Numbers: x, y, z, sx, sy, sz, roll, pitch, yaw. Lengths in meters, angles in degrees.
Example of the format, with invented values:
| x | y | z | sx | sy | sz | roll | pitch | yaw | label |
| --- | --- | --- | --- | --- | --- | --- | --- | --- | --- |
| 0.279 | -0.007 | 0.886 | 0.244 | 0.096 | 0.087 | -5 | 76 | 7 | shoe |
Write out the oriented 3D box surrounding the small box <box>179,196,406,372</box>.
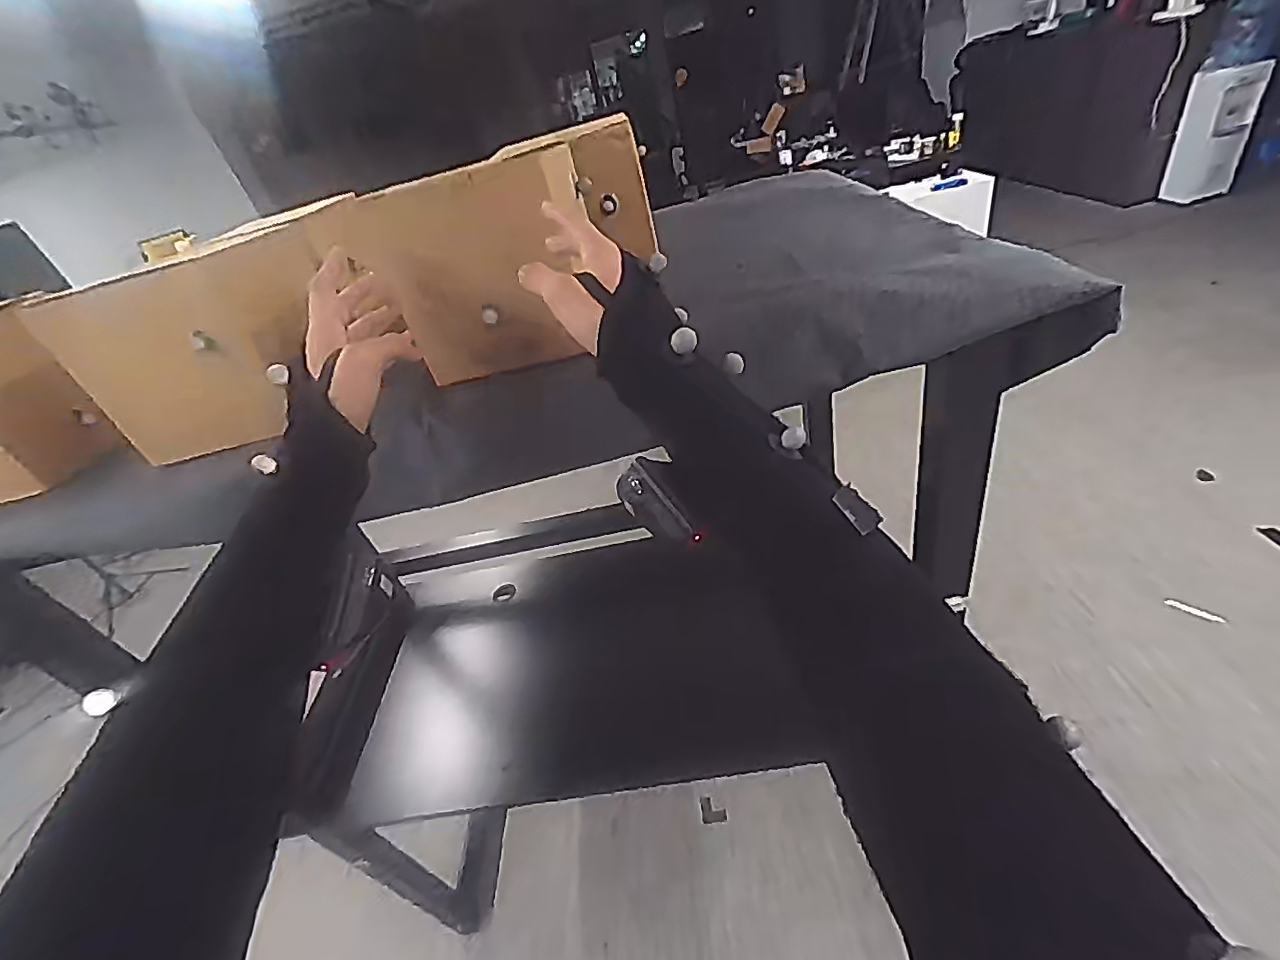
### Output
| x | y | z | sx | sy | sz | roll | pitch | yaw | label |
| --- | --- | --- | --- | --- | --- | --- | --- | --- | --- |
| -0.466 | -0.274 | 0.763 | 0.179 | 0.176 | 0.168 | -12 | 36 | 8 | small box |

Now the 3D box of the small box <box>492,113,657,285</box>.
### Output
| x | y | z | sx | sy | sz | roll | pitch | yaw | label |
| --- | --- | --- | --- | --- | --- | --- | --- | --- | --- |
| -0.077 | -0.359 | 0.714 | 0.168 | 0.176 | 0.179 | -12 | 36 | 4 | small box |

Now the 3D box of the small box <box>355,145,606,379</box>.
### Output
| x | y | z | sx | sy | sz | roll | pitch | yaw | label |
| --- | --- | --- | --- | --- | --- | --- | --- | --- | --- |
| -0.136 | -0.220 | 0.544 | 0.168 | 0.176 | 0.179 | -10 | 33 | 9 | small box |

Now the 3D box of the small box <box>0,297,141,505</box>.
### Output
| x | y | z | sx | sy | sz | roll | pitch | yaw | label |
| --- | --- | --- | --- | --- | --- | --- | --- | --- | --- |
| -0.728 | -0.081 | 0.603 | 0.168 | 0.176 | 0.179 | -14 | 35 | 5 | small box |
